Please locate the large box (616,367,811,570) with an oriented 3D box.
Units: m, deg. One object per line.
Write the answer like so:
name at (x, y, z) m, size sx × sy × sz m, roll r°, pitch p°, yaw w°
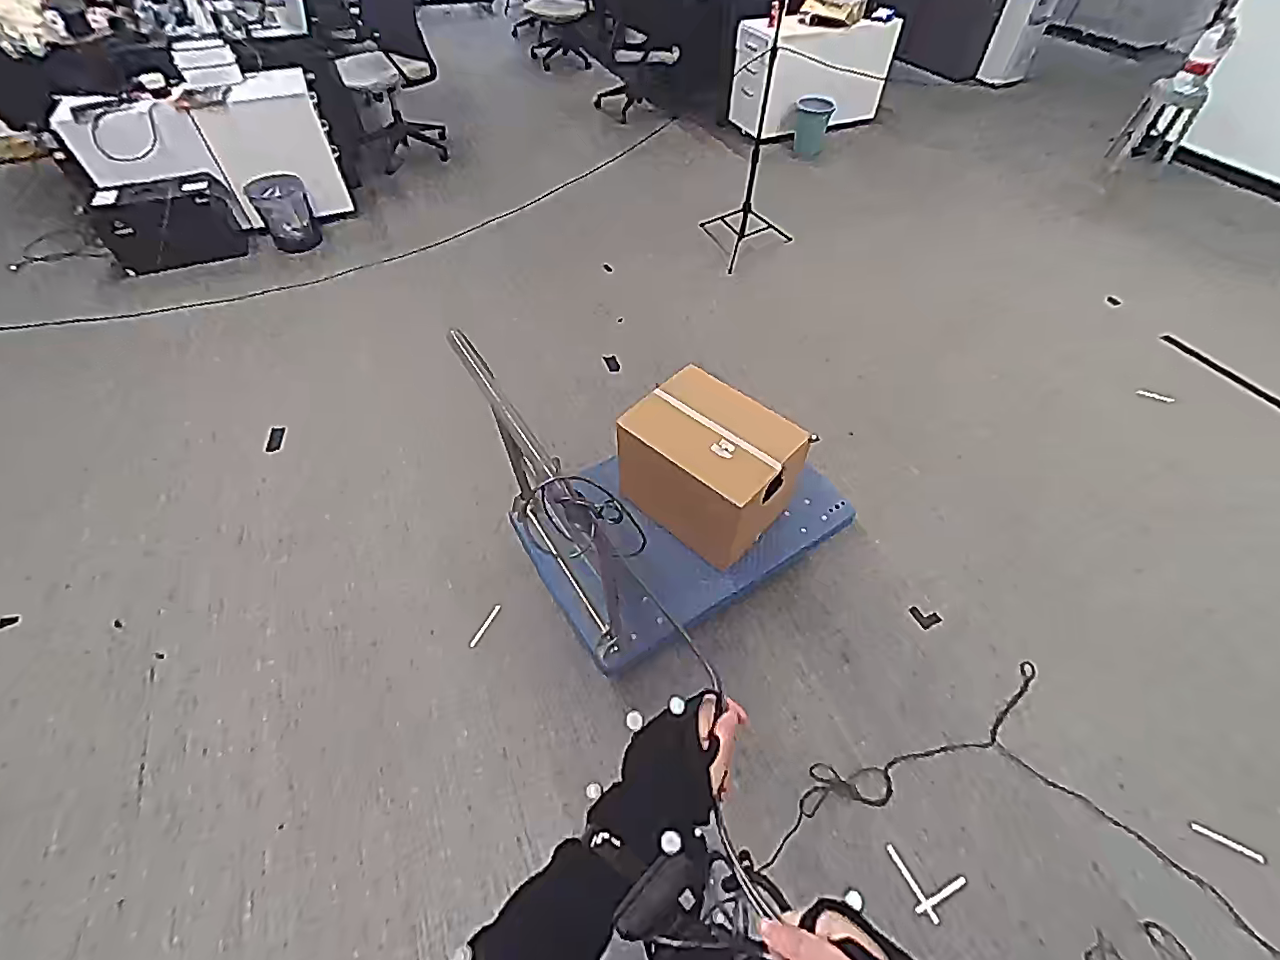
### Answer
large box at (0.179, -0.036, 1.482) m, size 0.408 × 0.320 × 0.320 m, roll 36°, pitch 61°, yaw 23°
